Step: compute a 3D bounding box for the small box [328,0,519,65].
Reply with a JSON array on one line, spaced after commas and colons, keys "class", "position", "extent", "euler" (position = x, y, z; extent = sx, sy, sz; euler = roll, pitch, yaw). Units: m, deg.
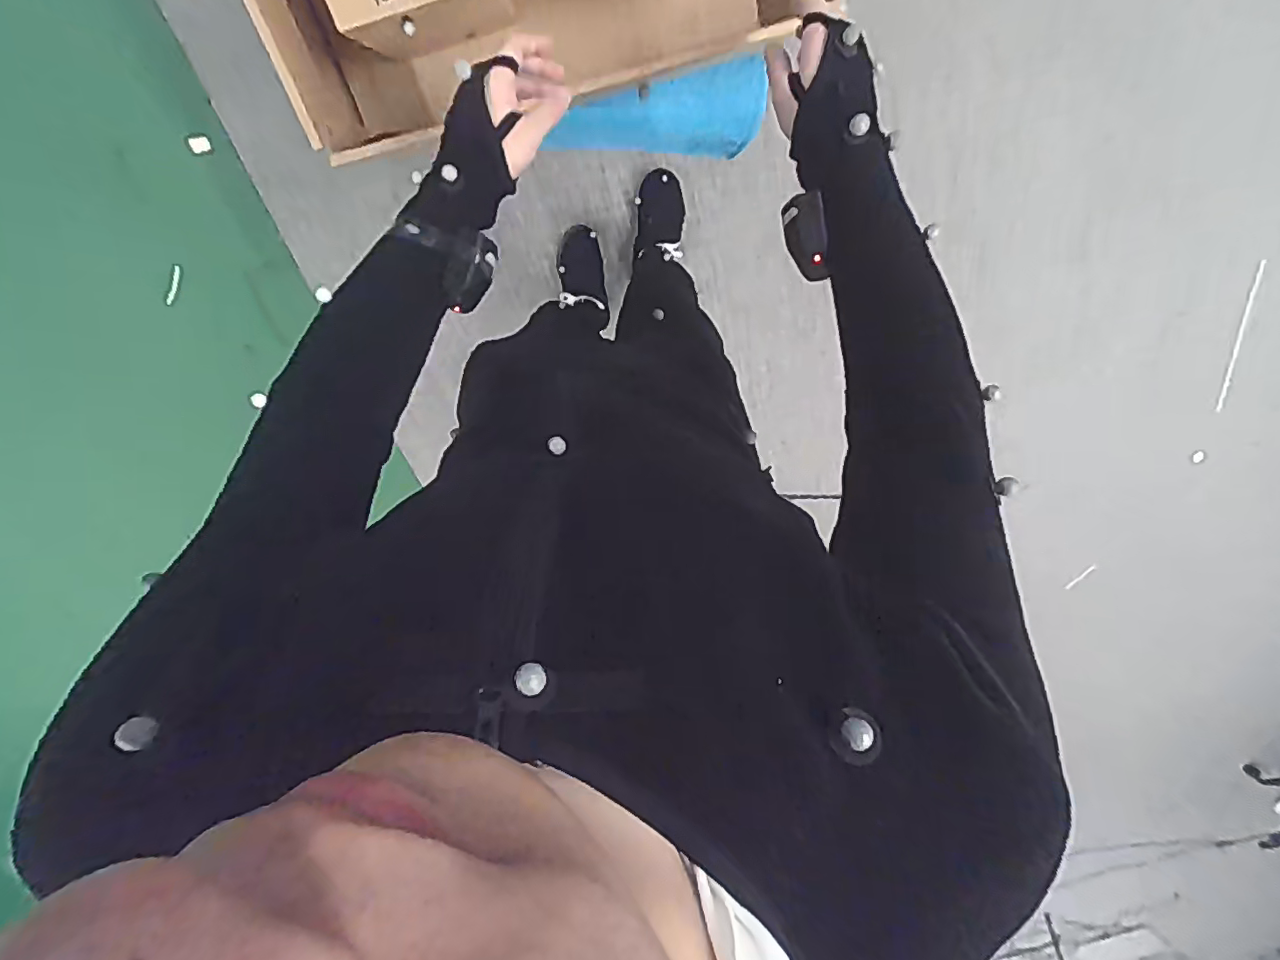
[{"class": "small box", "position": [-0.241, -0.573, 0.564], "extent": [0.168, 0.176, 0.179], "euler": [-13, 118, 6]}]
